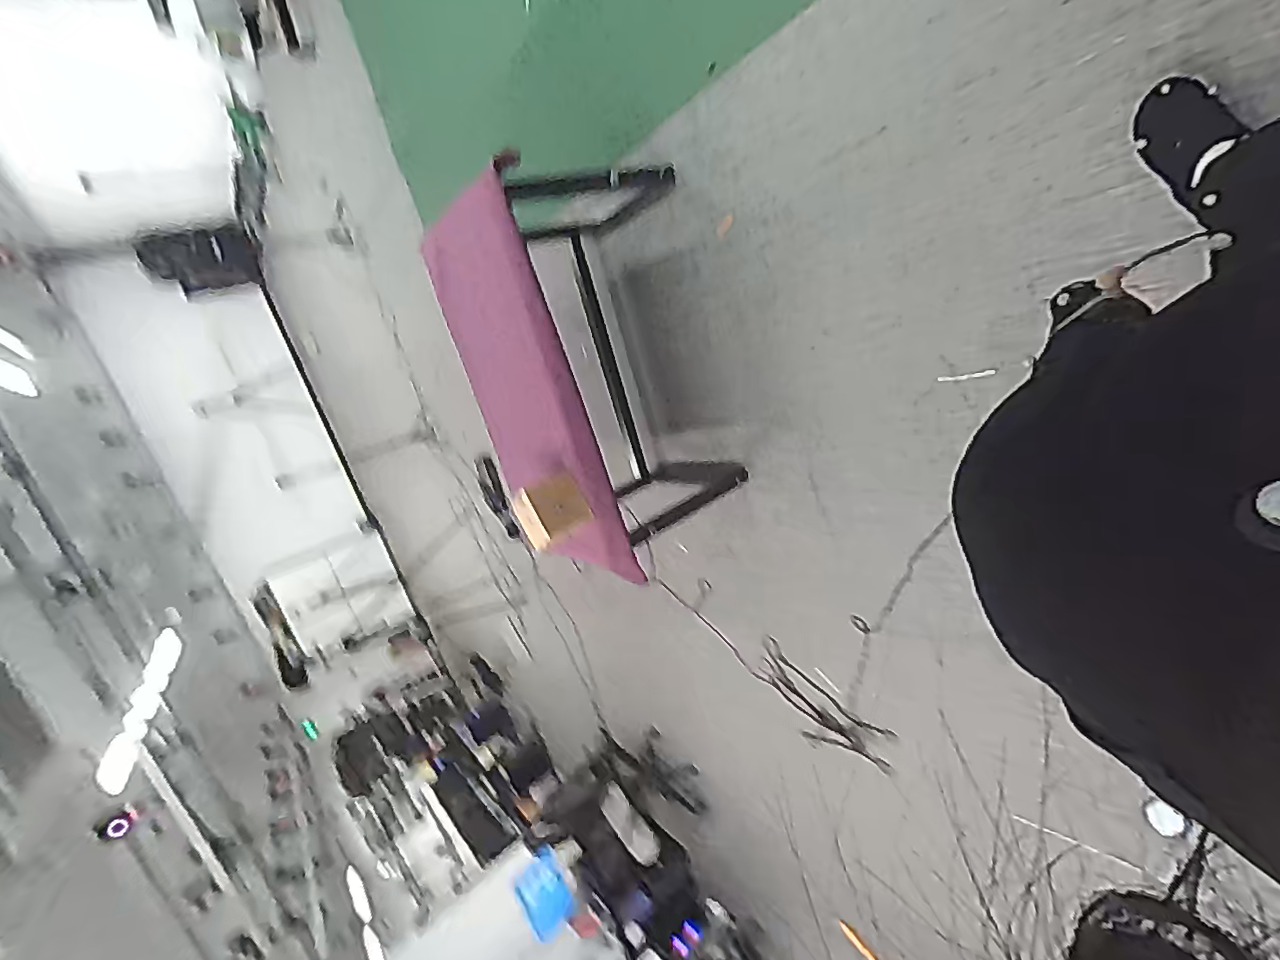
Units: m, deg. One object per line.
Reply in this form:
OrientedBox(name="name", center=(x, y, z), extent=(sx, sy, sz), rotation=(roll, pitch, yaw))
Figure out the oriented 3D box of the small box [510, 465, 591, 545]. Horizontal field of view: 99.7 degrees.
OrientedBox(name="small box", center=(-0.283, 0.080, 1.722), extent=(0.179, 0.176, 0.168), rotation=(59, 147, 6))
